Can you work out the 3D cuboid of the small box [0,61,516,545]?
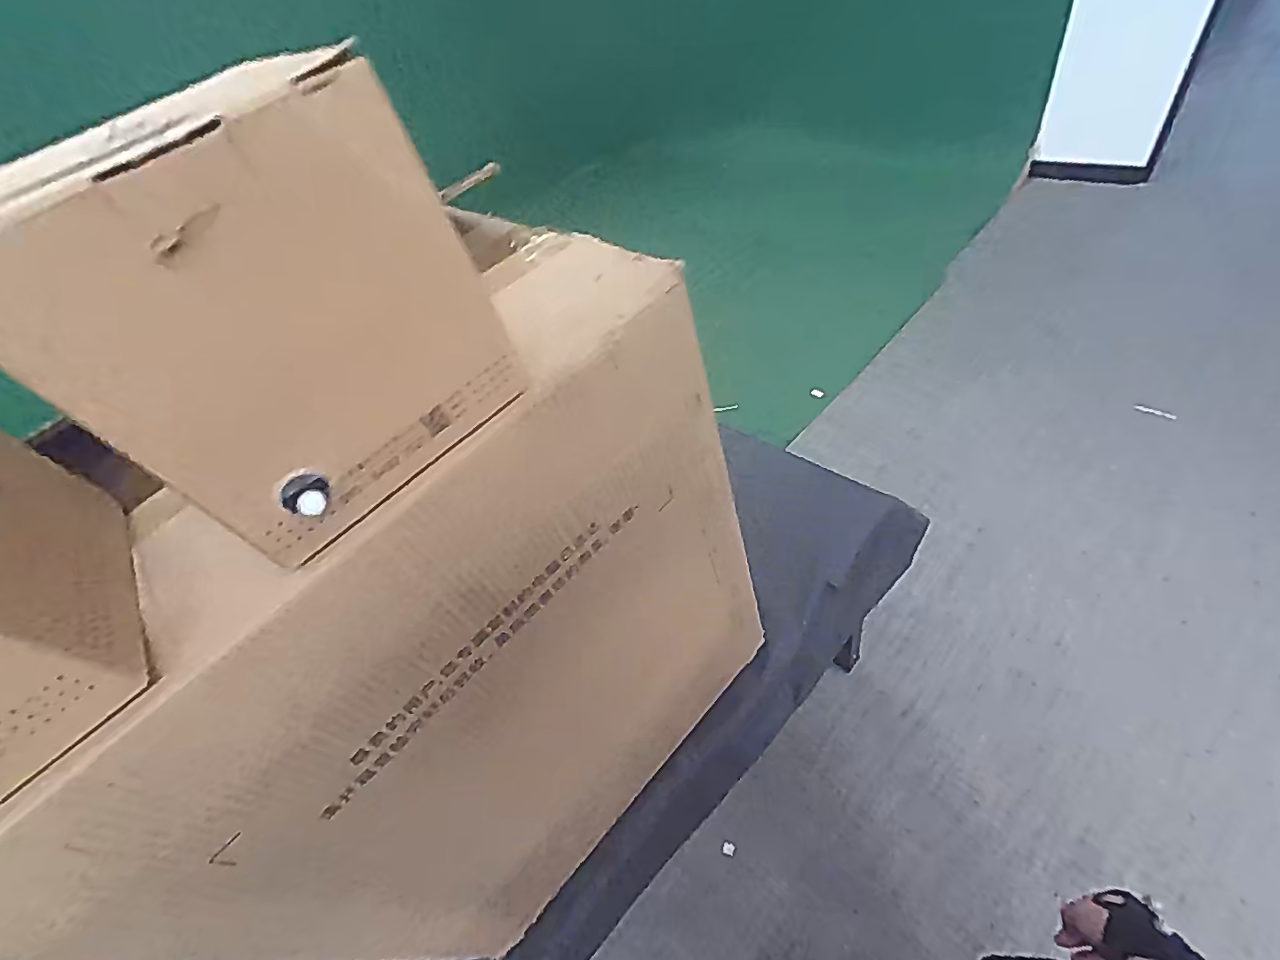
[{"bbox_3d":[-0.198,-0.091,0.292,0.179,0.176,0.168,30,64,37],"label":"small box"}]

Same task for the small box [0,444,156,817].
[{"bbox_3d":[-0.355,0.062,0.218,0.179,0.176,0.168,33,69,36],"label":"small box"}]
